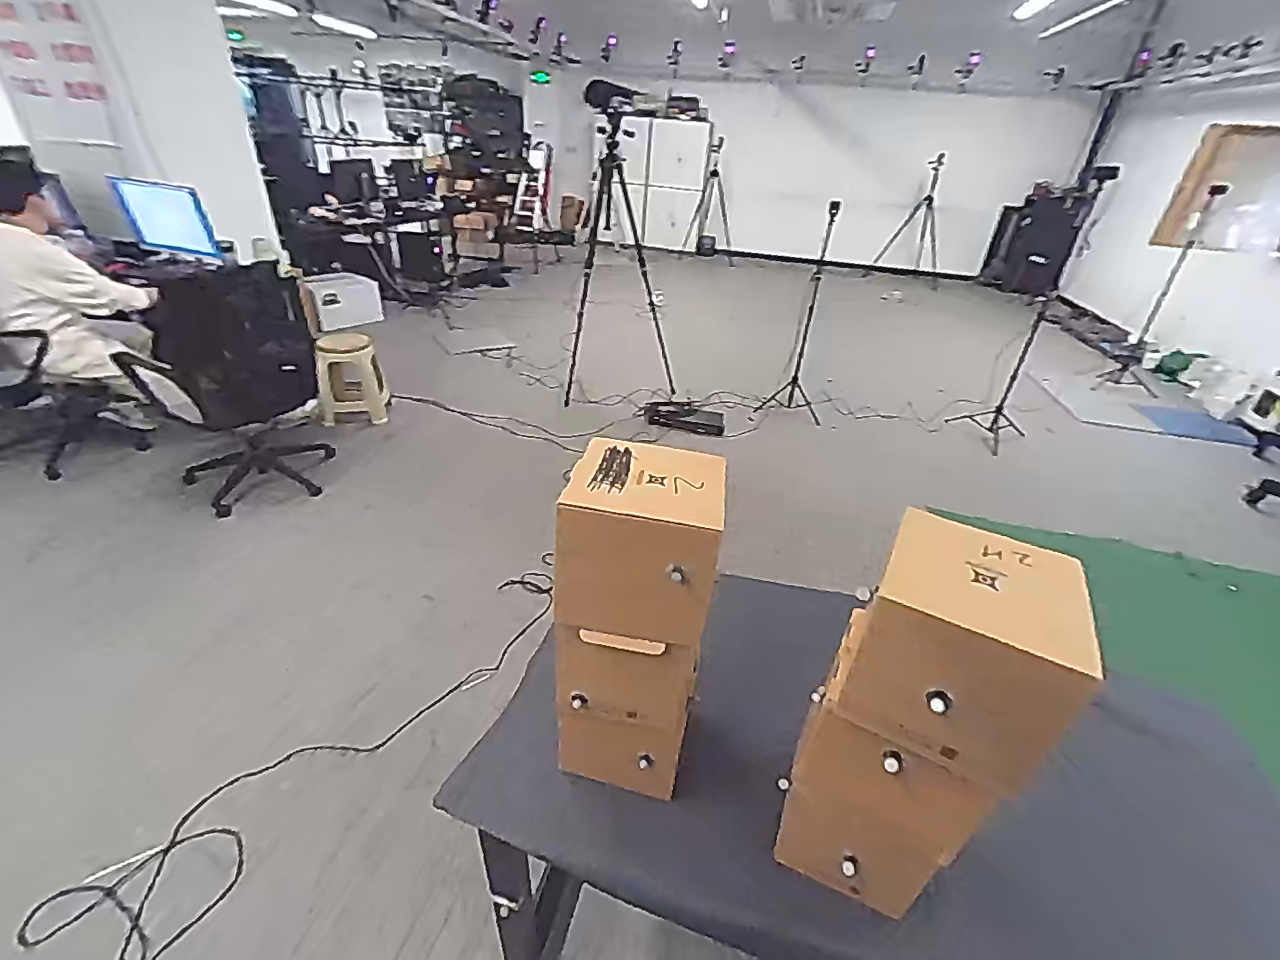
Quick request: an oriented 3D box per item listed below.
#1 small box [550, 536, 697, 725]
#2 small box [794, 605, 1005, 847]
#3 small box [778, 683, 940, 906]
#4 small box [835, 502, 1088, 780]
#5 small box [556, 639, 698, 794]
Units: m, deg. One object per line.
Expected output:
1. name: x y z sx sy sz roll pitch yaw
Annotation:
1. small box: -0.017 0.204 0.744 0.168 0.176 0.179 8 30 6
2. small box: 0.302 0.288 0.641 0.179 0.176 0.168 18 34 23
3. small box: 0.292 0.423 0.734 0.168 0.176 0.179 15 33 19
4. small box: 0.309 0.154 0.544 0.168 0.176 0.179 19 34 24
5. small box: -0.017 0.345 0.829 0.179 0.176 0.168 9 30 10
